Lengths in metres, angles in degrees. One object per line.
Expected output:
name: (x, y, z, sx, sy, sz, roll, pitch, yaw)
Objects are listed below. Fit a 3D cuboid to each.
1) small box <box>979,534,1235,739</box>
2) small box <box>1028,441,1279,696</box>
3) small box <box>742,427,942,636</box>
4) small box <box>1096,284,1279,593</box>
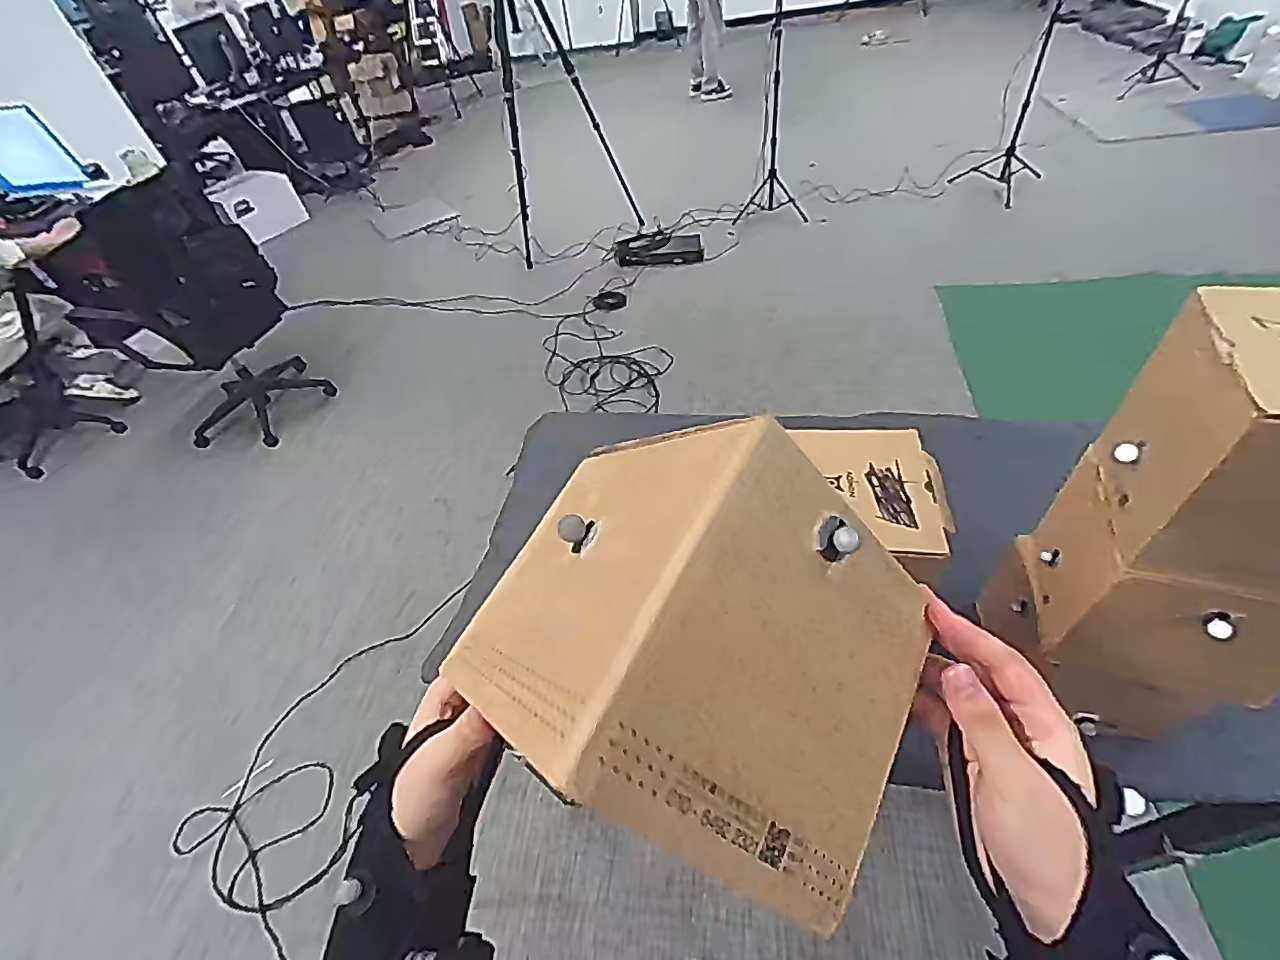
small box: (0.540, 0.187, 0.654, 0.168, 0.176, 0.179, 1, 48, 12)
small box: (0.516, 0.087, 0.528, 0.179, 0.176, 0.168, 9, 49, 20)
small box: (0.208, 0.059, 0.606, 0.179, 0.176, 0.168, 2, 47, 12)
small box: (0.497, -0.026, 0.410, 0.179, 0.176, 0.168, 11, 50, 21)
